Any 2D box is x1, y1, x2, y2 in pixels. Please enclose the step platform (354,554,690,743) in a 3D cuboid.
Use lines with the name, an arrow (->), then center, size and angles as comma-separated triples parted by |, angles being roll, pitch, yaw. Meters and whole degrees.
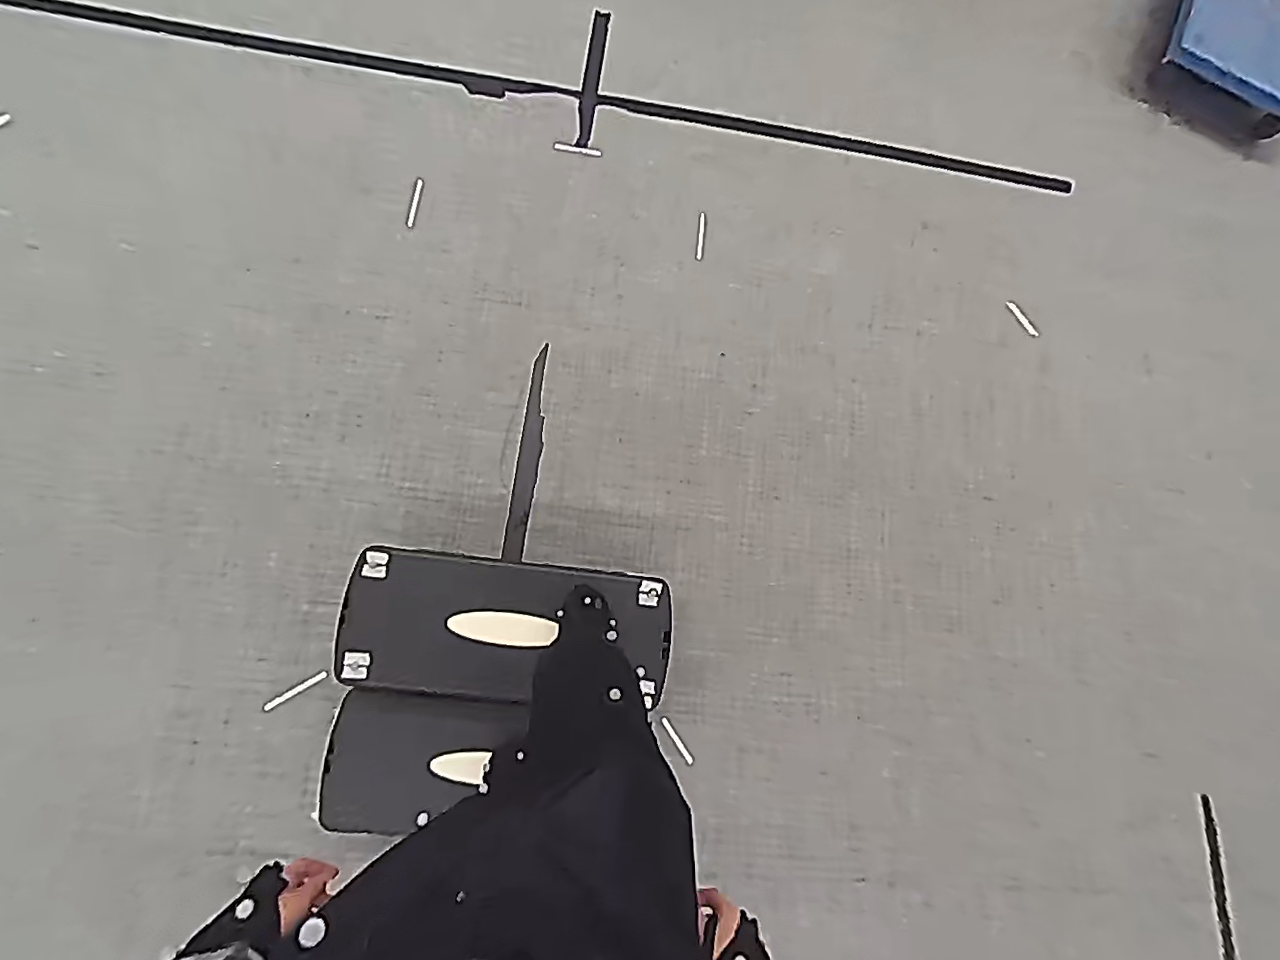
step platform -> -0.237, 0.362, 1.180 | 0.684, 0.204, 0.286 | 12, 74, -5
